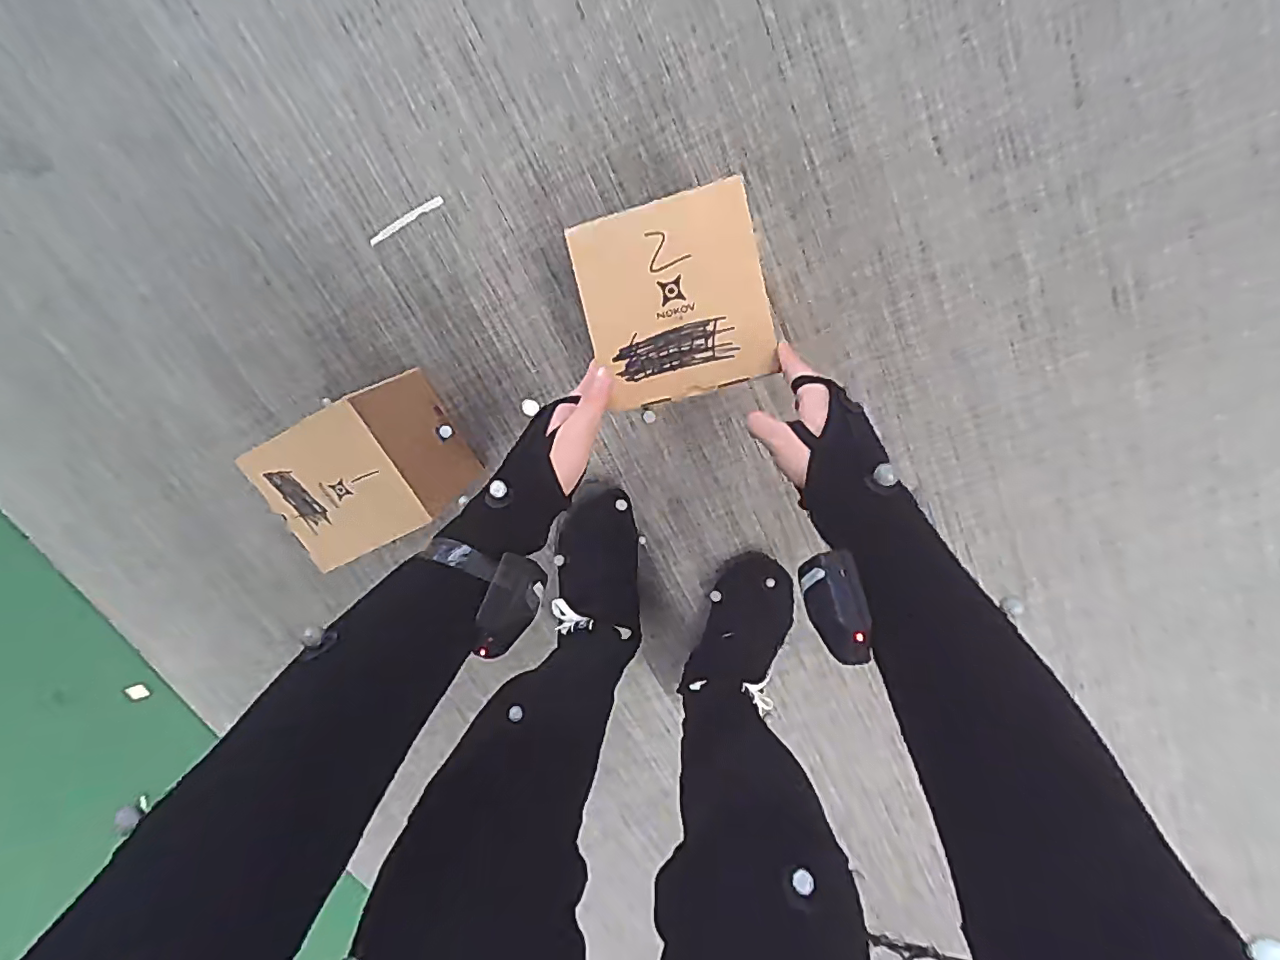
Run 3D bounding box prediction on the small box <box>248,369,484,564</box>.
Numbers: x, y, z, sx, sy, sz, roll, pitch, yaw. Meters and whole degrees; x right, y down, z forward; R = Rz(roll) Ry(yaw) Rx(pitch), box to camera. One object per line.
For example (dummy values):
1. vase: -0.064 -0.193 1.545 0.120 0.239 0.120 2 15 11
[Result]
1. small box: -0.336 -0.024 0.701 0.179 0.176 0.168 -24 108 13
